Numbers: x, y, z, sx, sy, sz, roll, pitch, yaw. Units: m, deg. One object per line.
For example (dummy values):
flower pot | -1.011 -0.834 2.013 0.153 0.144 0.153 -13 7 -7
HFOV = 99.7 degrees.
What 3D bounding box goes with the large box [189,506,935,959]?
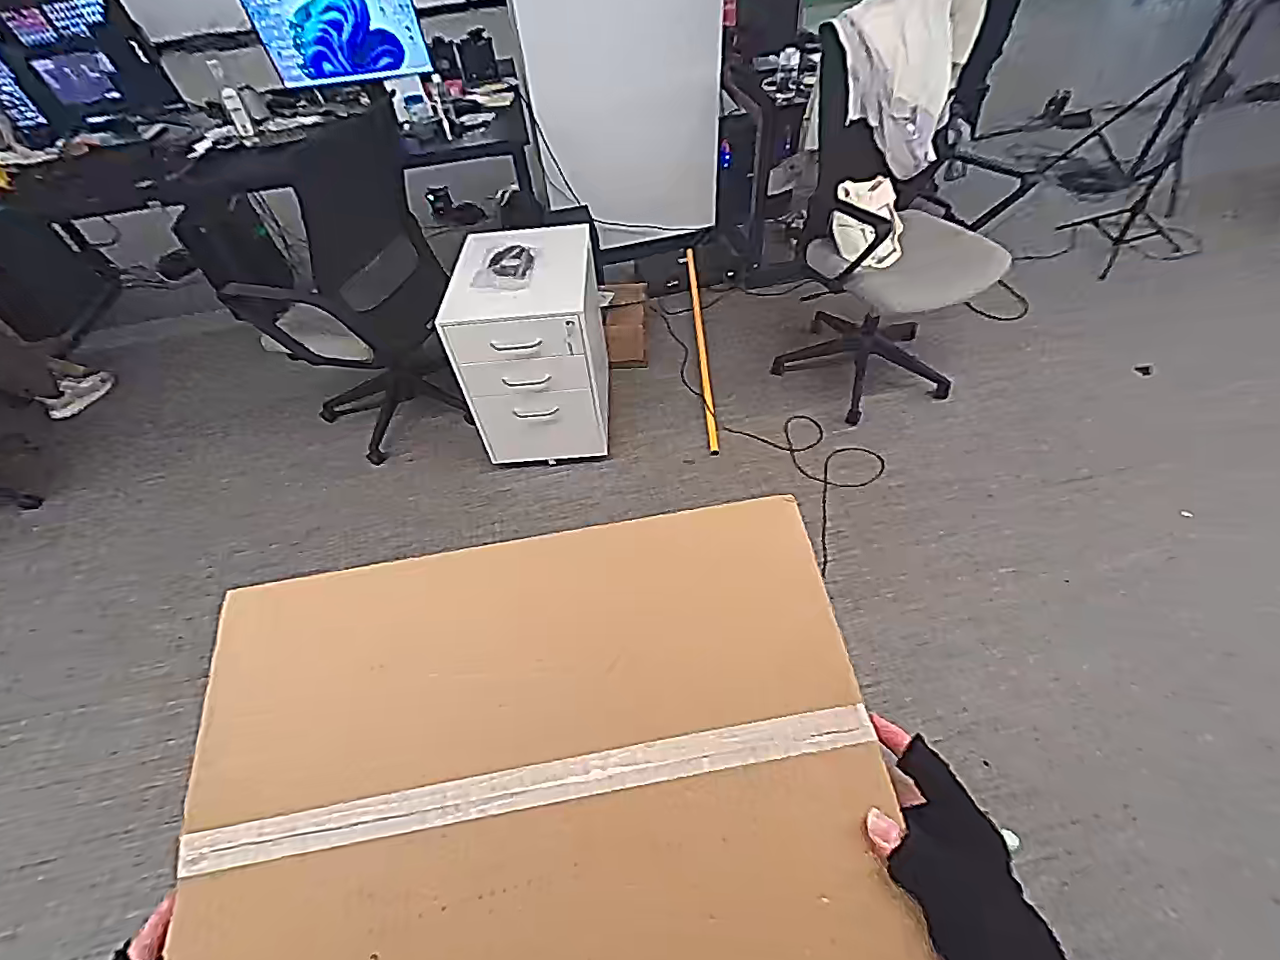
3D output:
large box | -0.054 0.255 0.460 0.408 0.320 0.320 -10 64 -2
